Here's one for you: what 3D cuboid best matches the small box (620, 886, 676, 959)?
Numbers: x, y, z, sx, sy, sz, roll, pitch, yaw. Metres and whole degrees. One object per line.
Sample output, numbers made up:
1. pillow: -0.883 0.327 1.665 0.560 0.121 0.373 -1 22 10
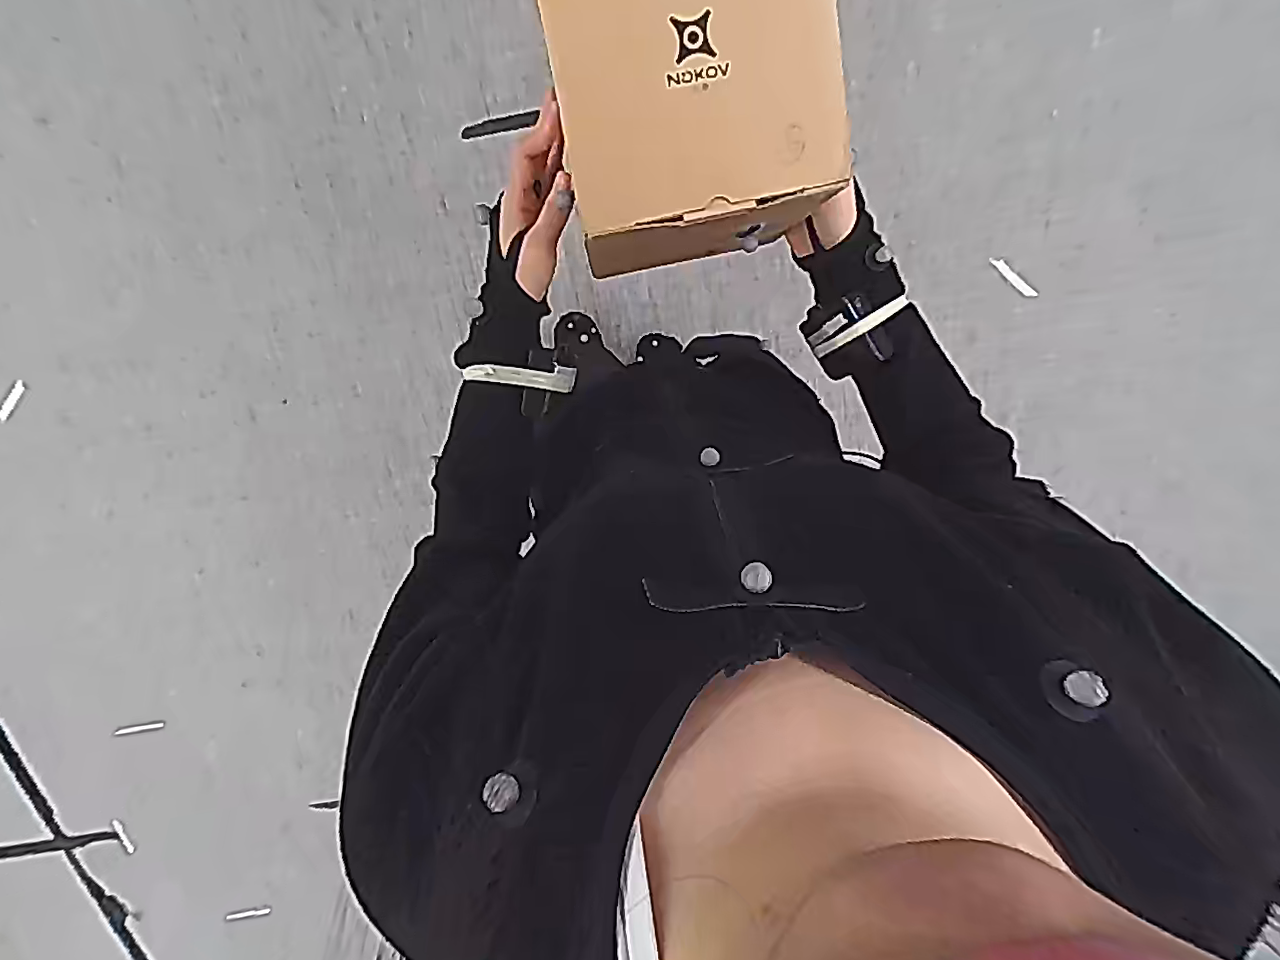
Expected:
1. small box: 0.028 1.554 1.864 0.168 0.176 0.179 -11 105 0
